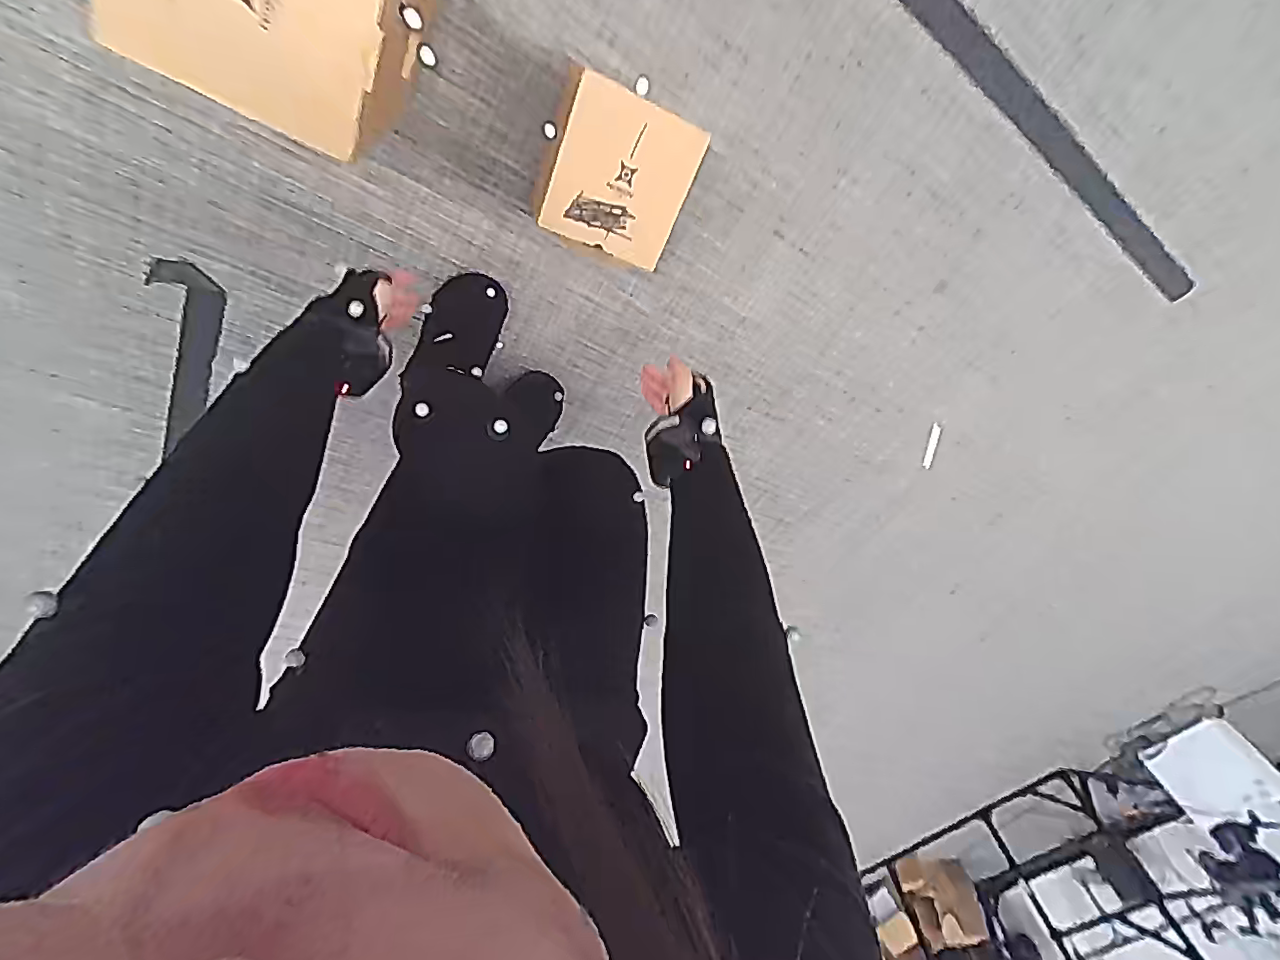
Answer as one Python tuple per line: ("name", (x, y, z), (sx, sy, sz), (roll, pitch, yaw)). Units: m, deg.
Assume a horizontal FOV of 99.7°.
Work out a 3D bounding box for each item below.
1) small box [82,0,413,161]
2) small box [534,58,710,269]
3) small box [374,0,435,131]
("small box", (-0.294, -0.402, 0.439), (0.179, 0.176, 0.168), (18, 123, -26))
("small box", (-0.035, -0.414, 0.710), (0.168, 0.176, 0.179), (13, 125, -23))
("small box", (-0.321, -0.508, 0.561), (0.179, 0.176, 0.168), (19, 123, -28))
